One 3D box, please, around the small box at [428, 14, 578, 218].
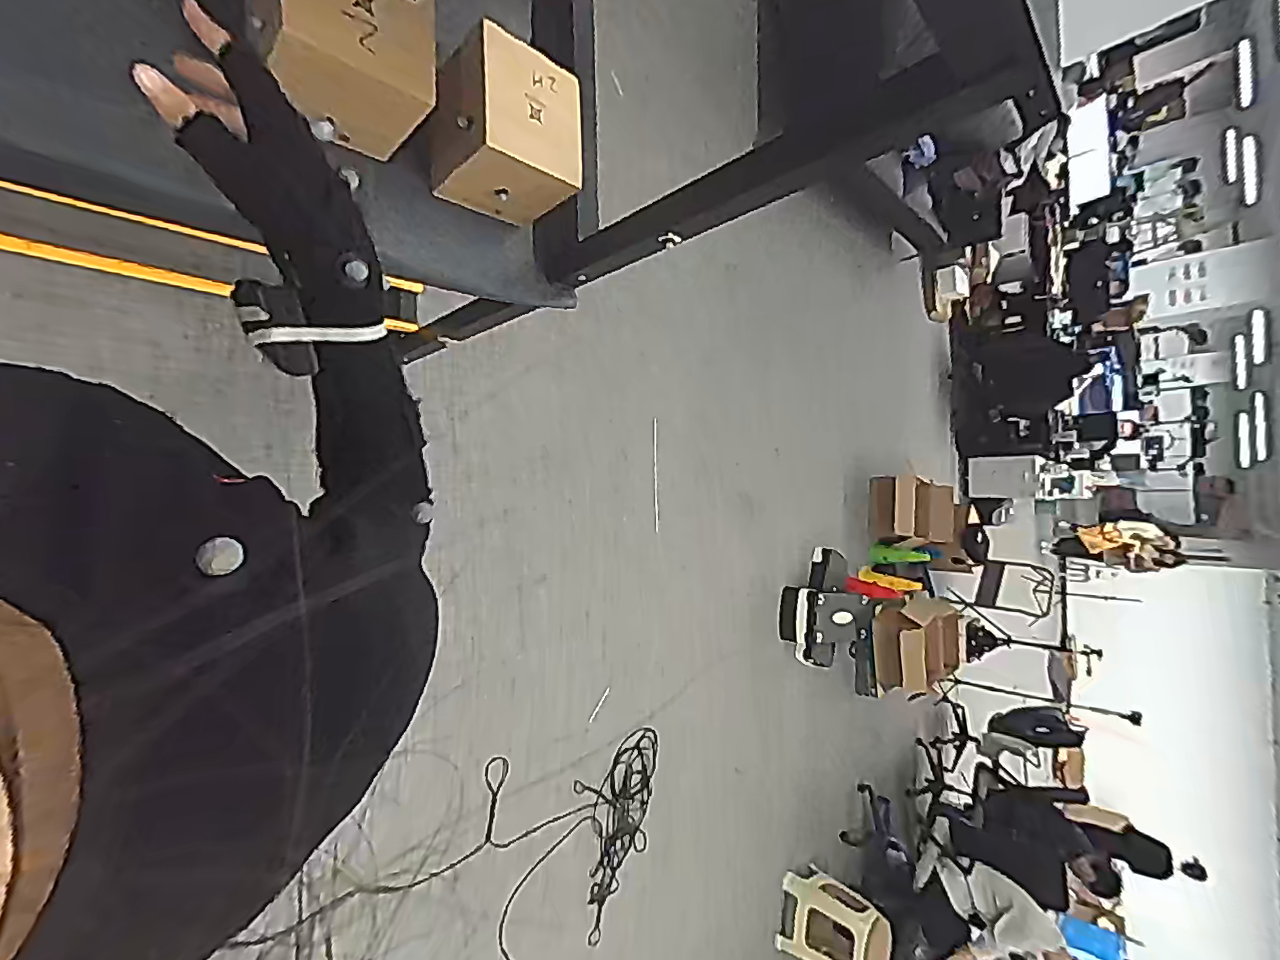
[{"bbox_3d":[-0.212,-0.536,0.833,0.168,0.176,0.179,-2,89,-46],"label":"small box"}]
